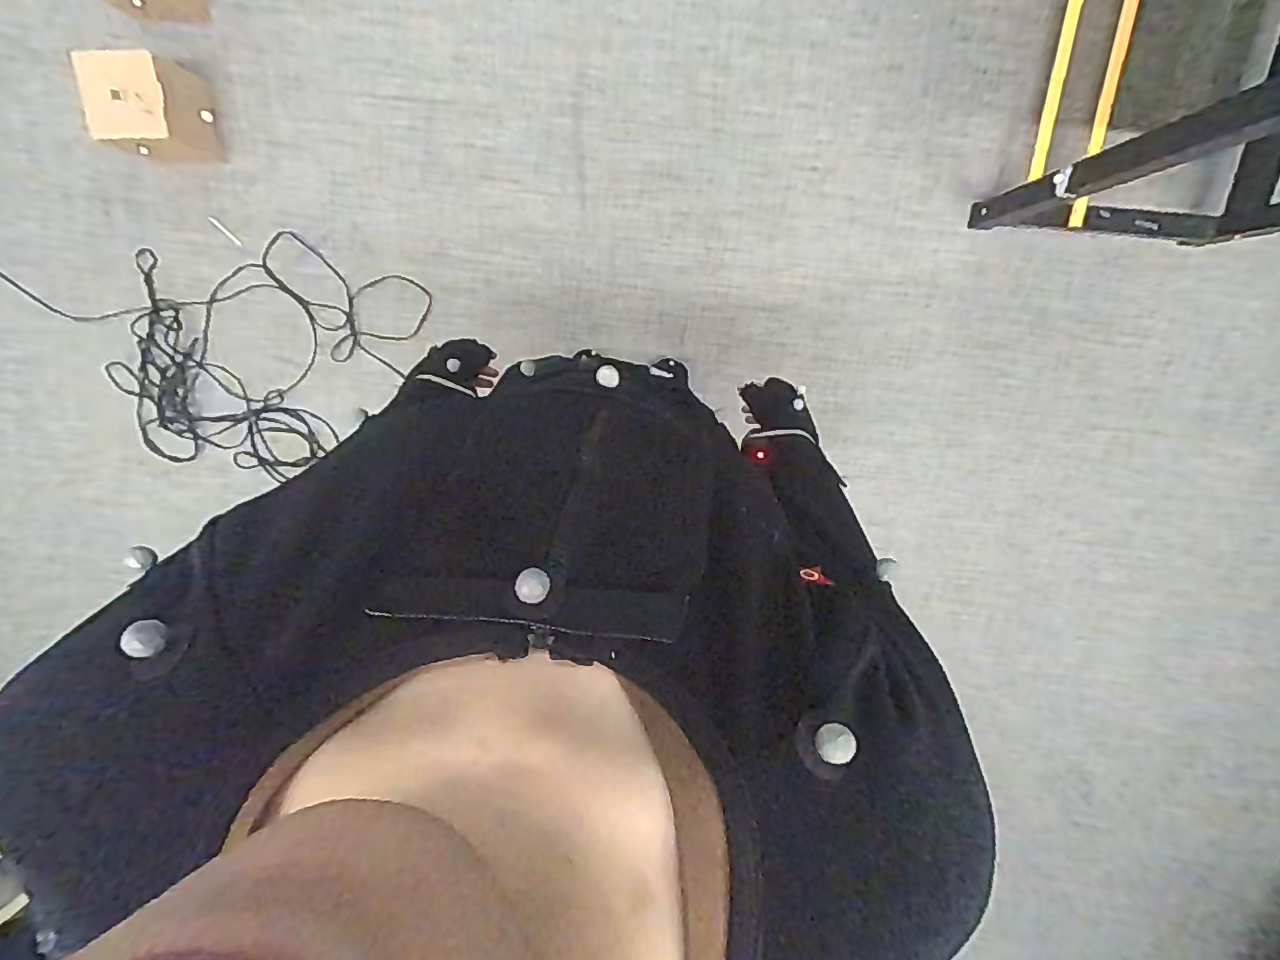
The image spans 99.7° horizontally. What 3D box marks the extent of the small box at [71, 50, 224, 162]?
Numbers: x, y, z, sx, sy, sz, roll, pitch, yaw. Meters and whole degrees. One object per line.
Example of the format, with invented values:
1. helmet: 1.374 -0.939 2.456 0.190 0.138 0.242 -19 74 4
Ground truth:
1. small box: -1.096 -0.833 1.218 0.179 0.176 0.168 0 105 1
